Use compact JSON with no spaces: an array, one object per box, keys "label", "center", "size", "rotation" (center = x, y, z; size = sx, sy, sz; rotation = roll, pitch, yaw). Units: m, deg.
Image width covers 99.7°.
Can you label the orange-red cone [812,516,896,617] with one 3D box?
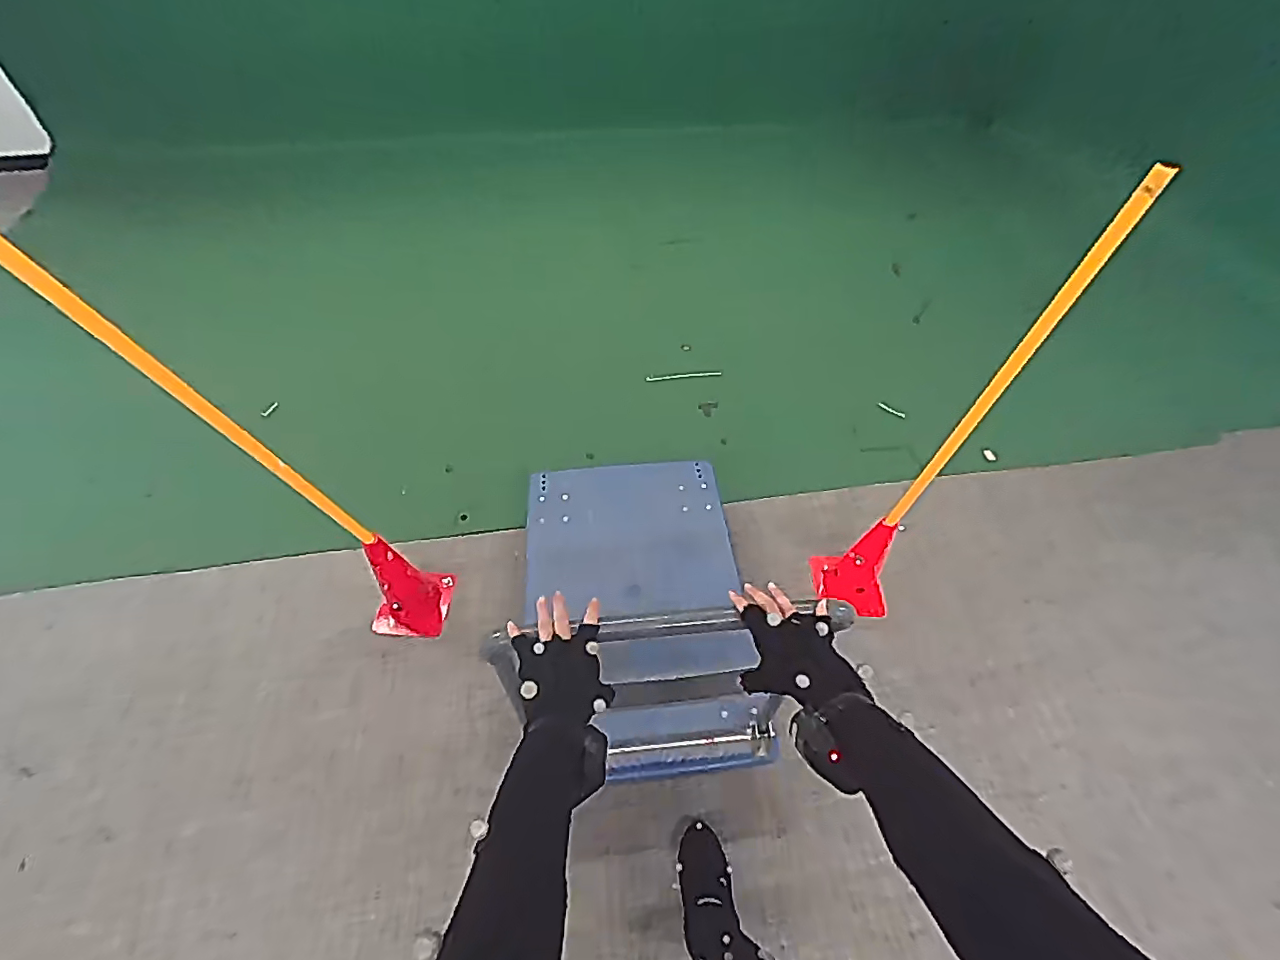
[{"label":"orange-red cone","center":[0.631,0.216,1.507],"size":[0.198,0.360,0.199],"rotation":[2,52,2]}]
